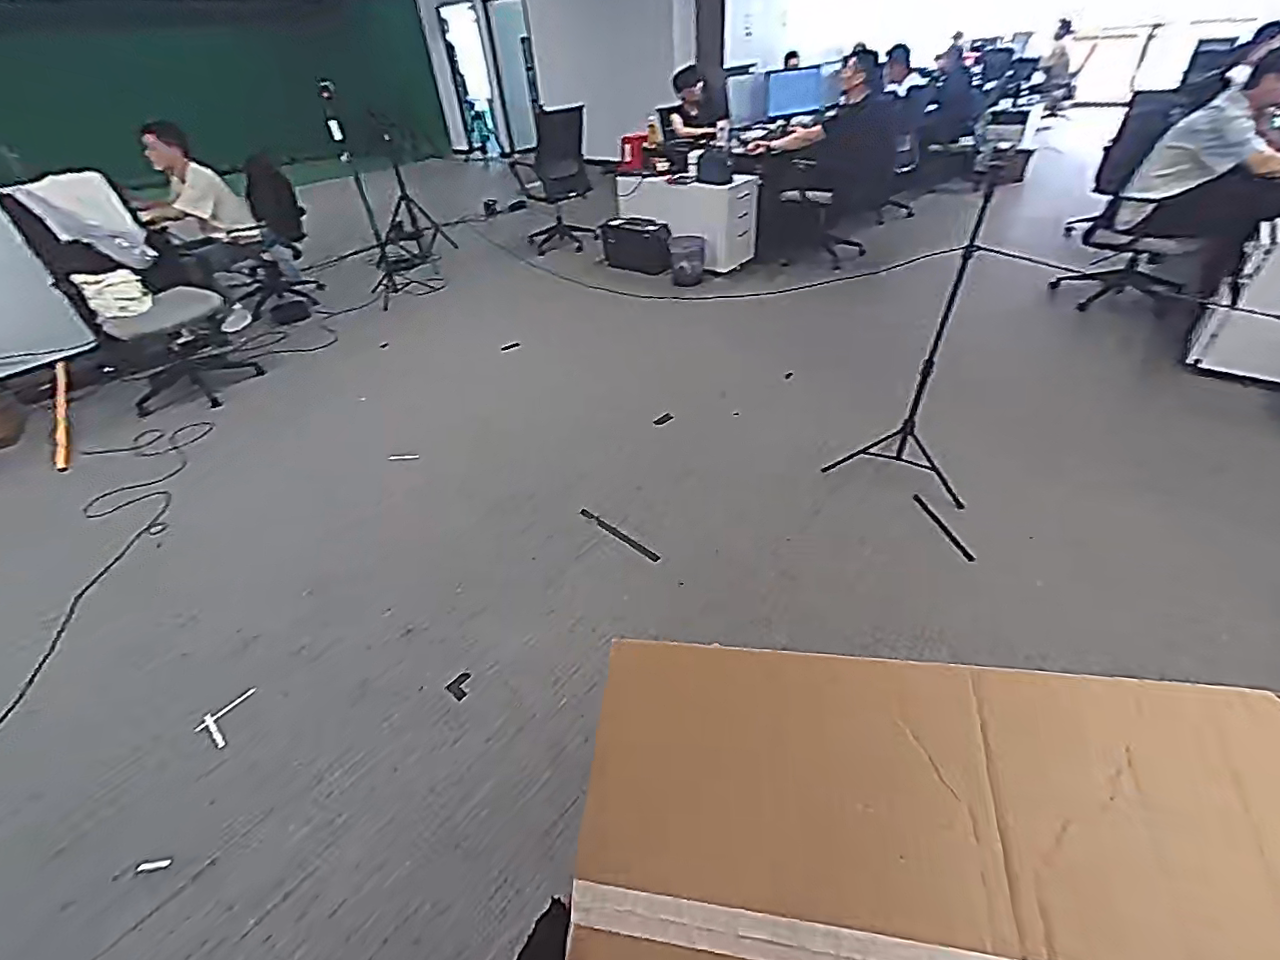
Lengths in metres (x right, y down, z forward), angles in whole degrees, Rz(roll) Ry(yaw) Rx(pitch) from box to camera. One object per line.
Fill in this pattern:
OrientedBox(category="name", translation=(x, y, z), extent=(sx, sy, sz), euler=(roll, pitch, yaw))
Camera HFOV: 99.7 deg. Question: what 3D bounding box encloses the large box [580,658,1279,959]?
OrientedBox(category="large box", translation=(0.188, 0.341, 0.413), extent=(0.408, 0.320, 0.320), euler=(0, 60, 13))
